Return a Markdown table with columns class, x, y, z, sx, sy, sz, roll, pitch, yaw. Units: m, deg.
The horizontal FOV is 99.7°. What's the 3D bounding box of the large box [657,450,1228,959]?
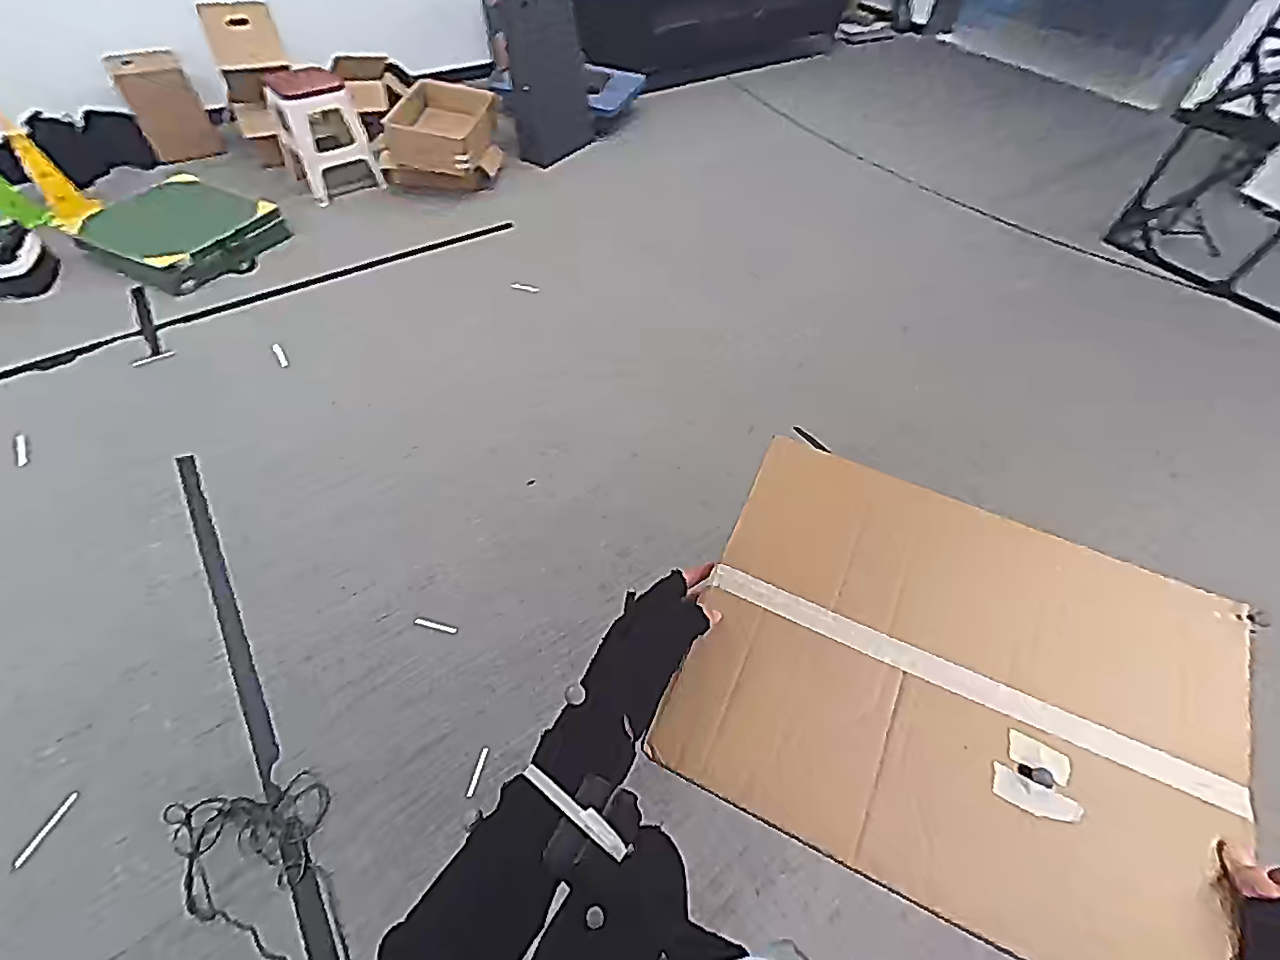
| class | x | y | z | sx | sy | sz | roll | pitch | yaw |
| --- | --- | --- | --- | --- | --- | --- | --- | --- | --- |
| large box | 0.258 | 0.226 | 0.579 | 0.408 | 0.320 | 0.320 | 22 | 68 | 13 |
